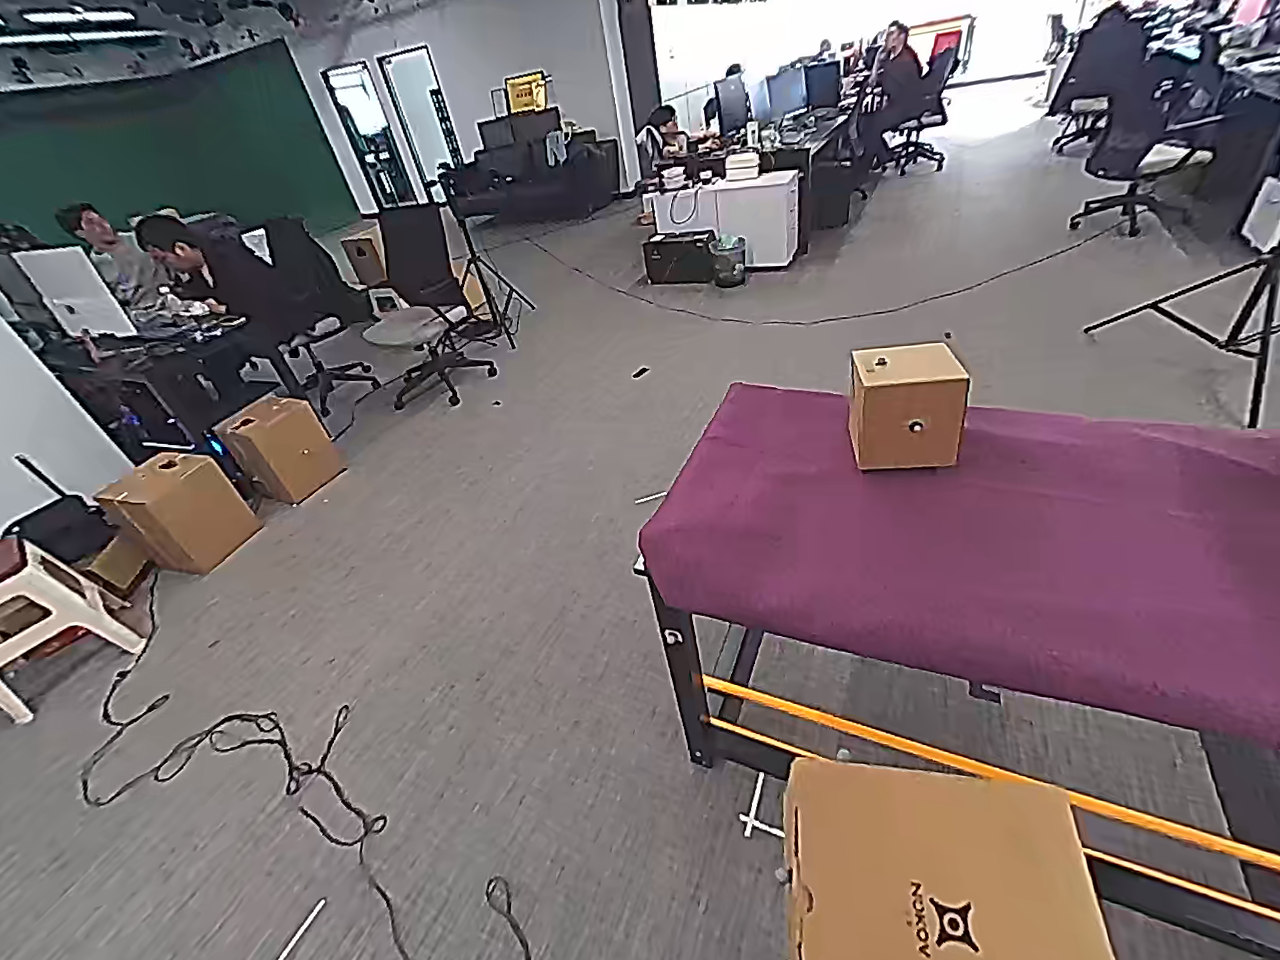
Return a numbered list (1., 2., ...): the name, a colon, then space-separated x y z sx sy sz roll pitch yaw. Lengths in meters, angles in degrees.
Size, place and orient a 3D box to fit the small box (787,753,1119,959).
1. small box: 0.201 0.311 0.390 0.179 0.176 0.168 -1 53 13
